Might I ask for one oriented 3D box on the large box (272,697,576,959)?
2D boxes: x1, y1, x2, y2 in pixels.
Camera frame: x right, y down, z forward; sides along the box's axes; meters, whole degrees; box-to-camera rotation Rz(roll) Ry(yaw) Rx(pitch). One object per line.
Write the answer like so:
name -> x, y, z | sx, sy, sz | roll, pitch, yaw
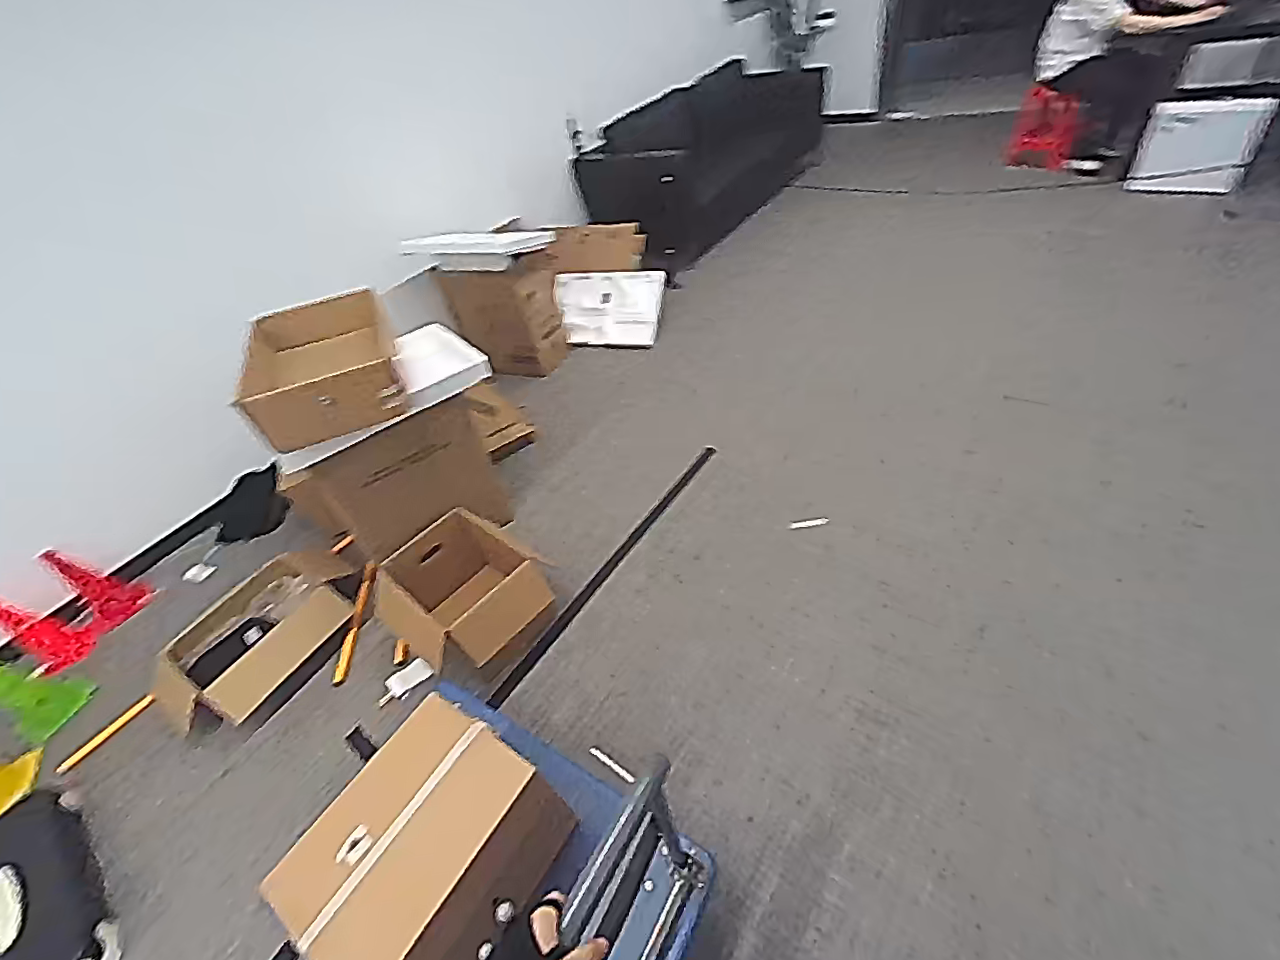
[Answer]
large box -> -0.391, 0.736, 1.080 | 0.320, 0.320, 0.408 | 17, 51, 31
